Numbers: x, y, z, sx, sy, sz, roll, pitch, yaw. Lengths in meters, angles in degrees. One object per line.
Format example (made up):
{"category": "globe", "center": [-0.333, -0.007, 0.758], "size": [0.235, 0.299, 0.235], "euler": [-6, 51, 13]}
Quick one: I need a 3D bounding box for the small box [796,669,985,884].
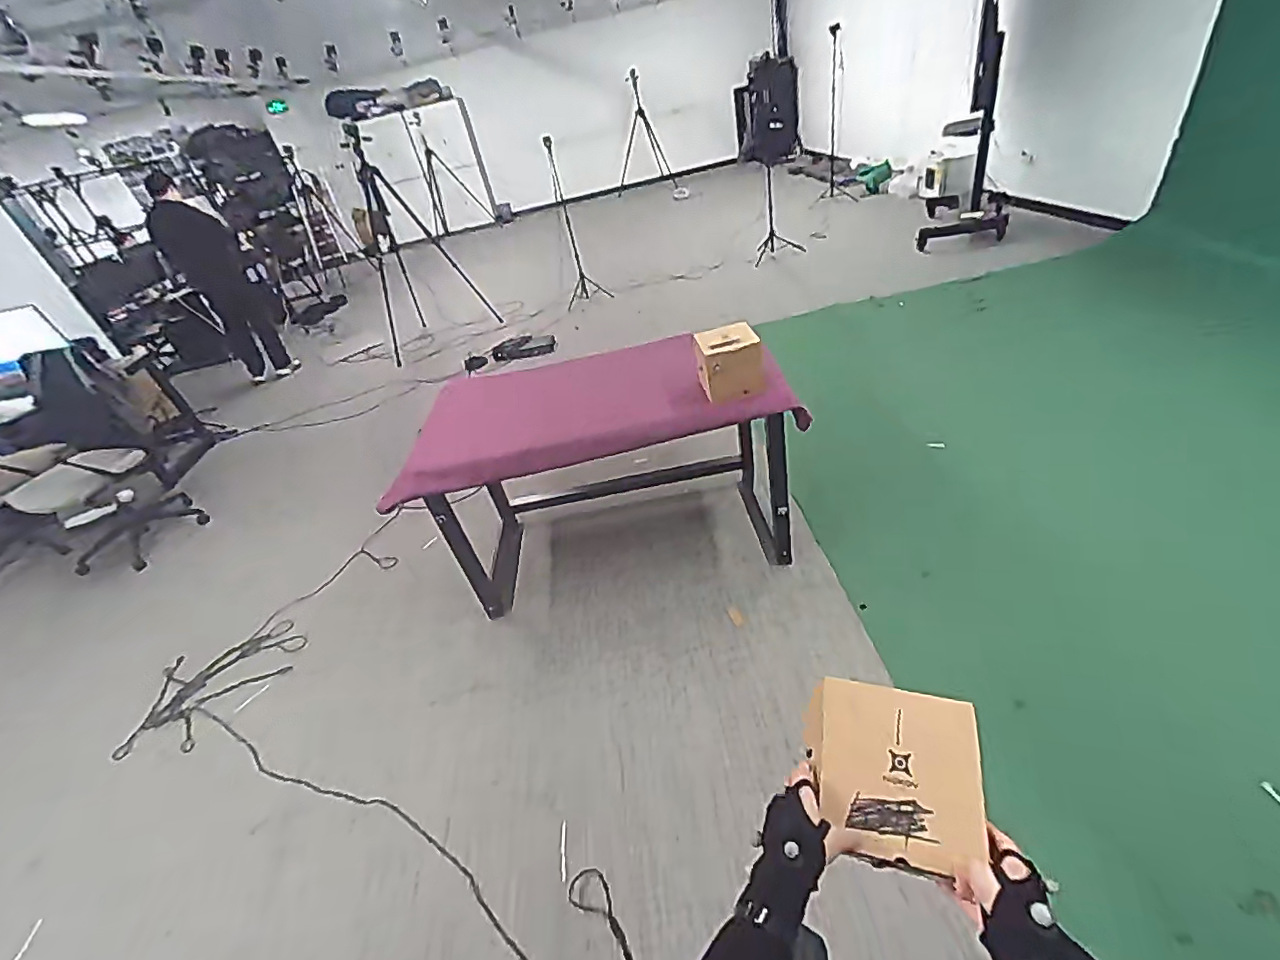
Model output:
{"category": "small box", "center": [0.284, 0.351, 0.646], "size": [0.168, 0.176, 0.179], "euler": [8, 57, 13]}
